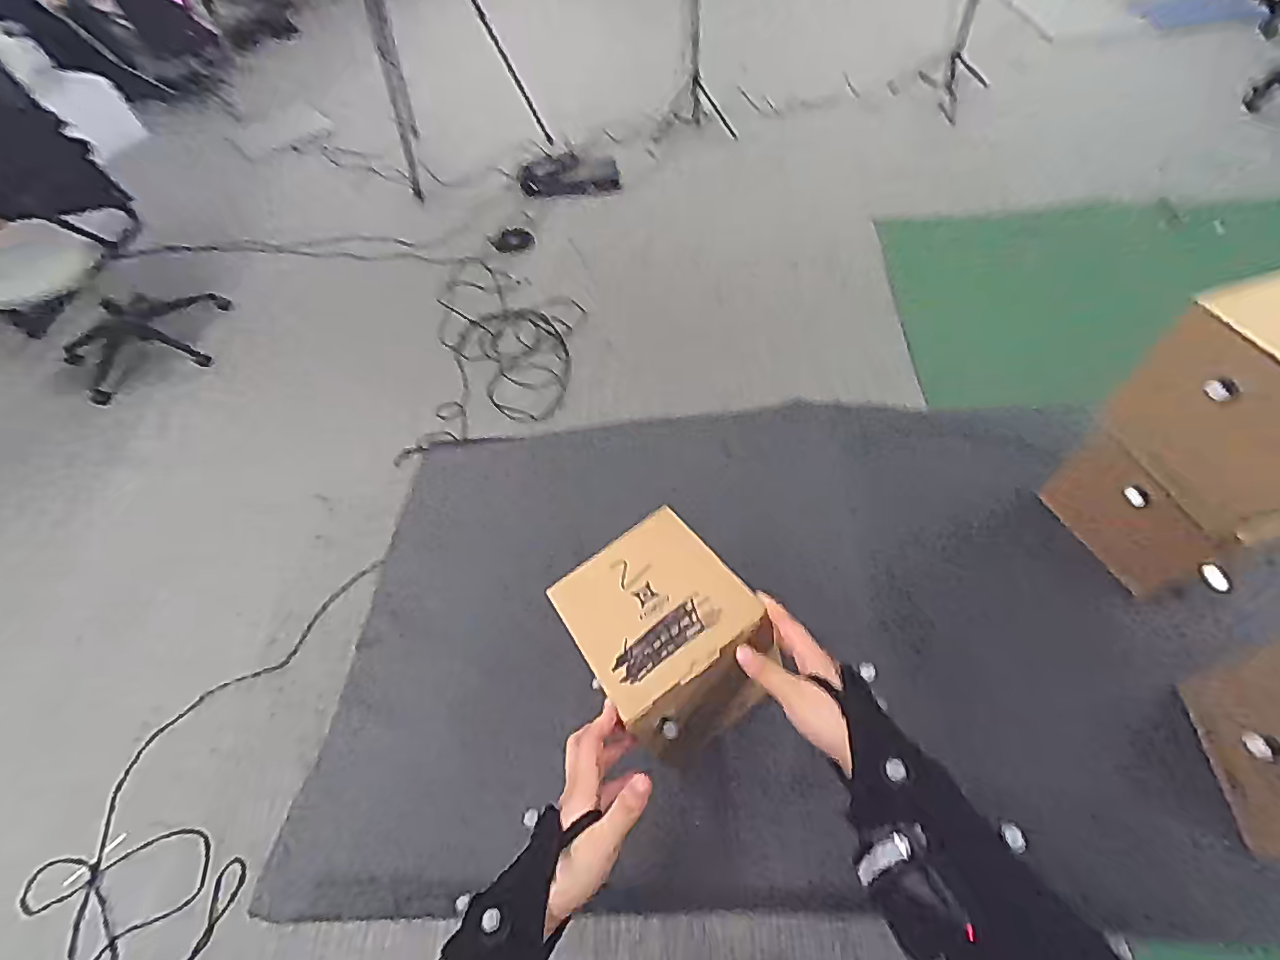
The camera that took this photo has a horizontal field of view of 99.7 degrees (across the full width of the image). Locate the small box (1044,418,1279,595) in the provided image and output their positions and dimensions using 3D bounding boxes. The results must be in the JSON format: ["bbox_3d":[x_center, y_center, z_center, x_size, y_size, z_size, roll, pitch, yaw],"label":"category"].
[{"bbox_3d":[0.649,0.010,0.652,0.168,0.176,0.179,-22,58,-5],"label":"small box"}]

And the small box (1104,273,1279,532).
[{"bbox_3d":[0.613,-0.077,0.516,0.168,0.176,0.179,-16,57,0],"label":"small box"}]

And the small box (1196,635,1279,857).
[{"bbox_3d":[0.671,0.249,0.485,0.179,0.176,0.168,2,54,9],"label":"small box"}]
